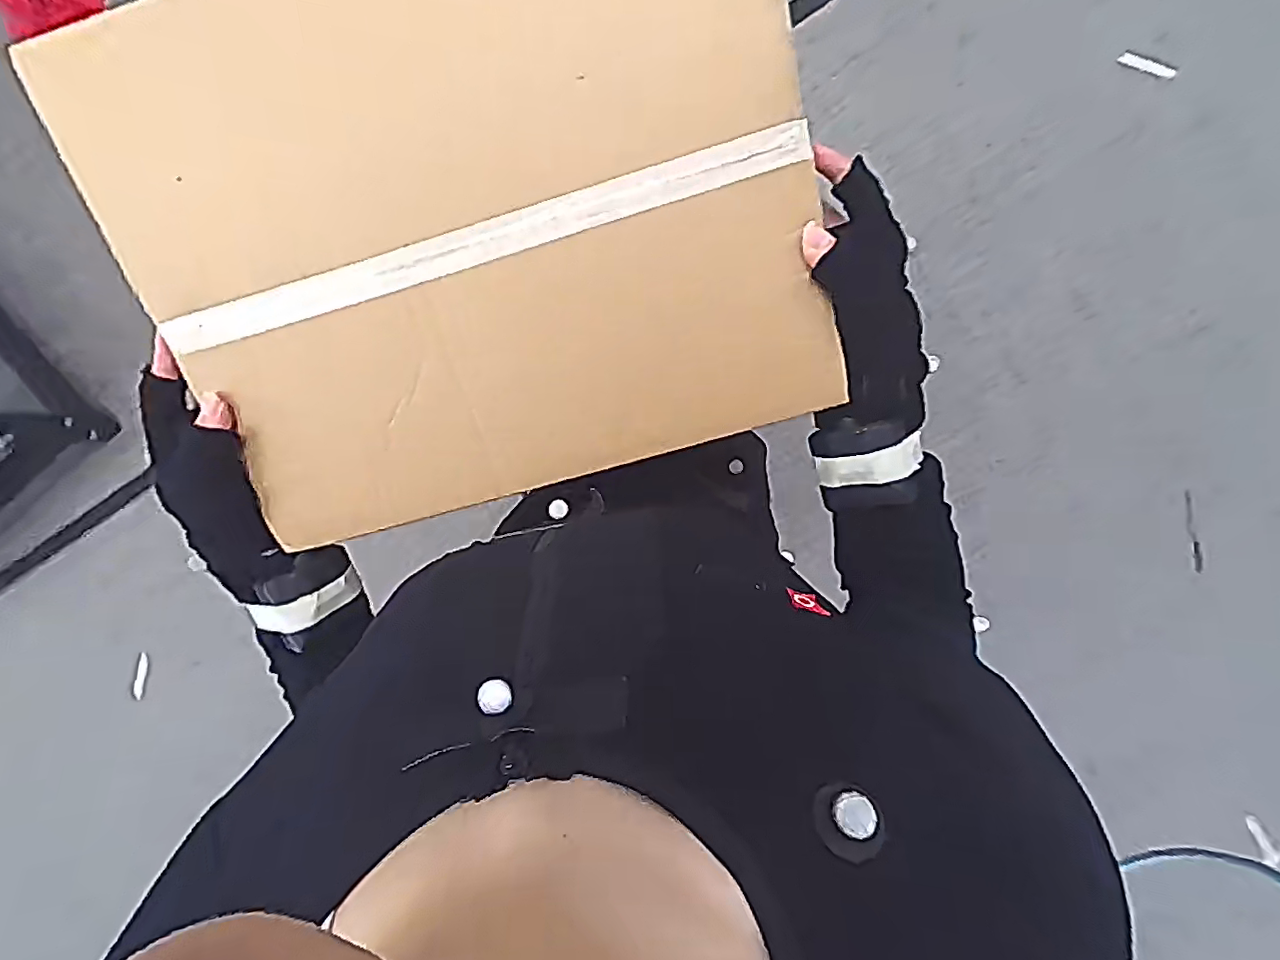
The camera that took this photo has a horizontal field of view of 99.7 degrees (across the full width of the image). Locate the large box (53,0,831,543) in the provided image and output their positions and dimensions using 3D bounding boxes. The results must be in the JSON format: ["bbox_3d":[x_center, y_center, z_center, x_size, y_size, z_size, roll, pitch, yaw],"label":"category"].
[{"bbox_3d":[-0.100,-0.192,0.474,0.408,0.320,0.320,-15,108,4],"label":"large box"}]
